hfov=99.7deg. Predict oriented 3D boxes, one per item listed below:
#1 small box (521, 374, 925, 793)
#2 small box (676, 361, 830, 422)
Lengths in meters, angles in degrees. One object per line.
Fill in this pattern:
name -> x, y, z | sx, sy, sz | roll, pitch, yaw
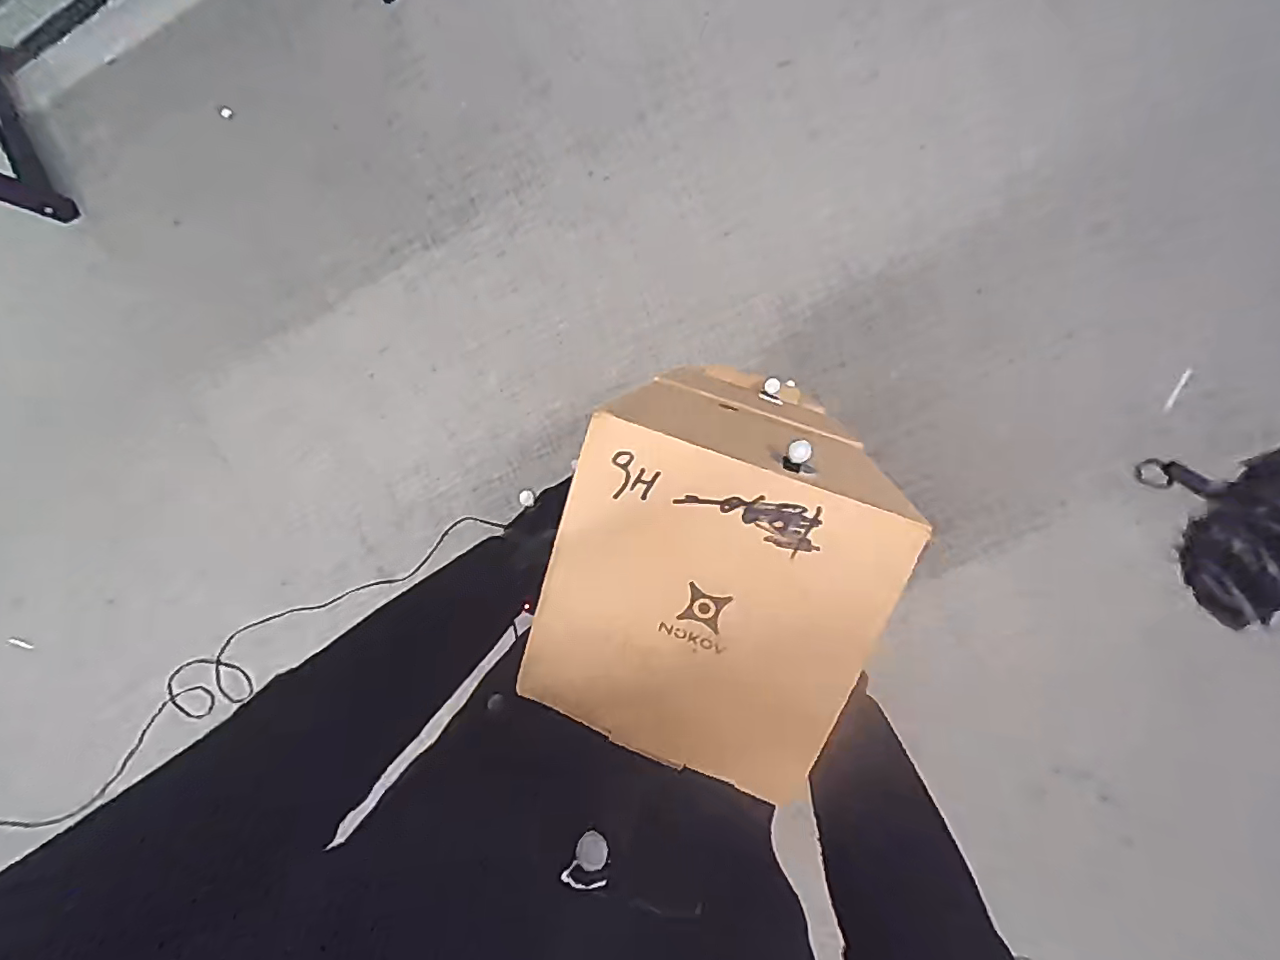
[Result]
small box -> 0.046, 0.044, 0.348 | 0.168, 0.176, 0.179 | 19, 110, 6
small box -> 0.113, -0.042, 0.657 | 0.168, 0.176, 0.179 | 15, 108, 8
